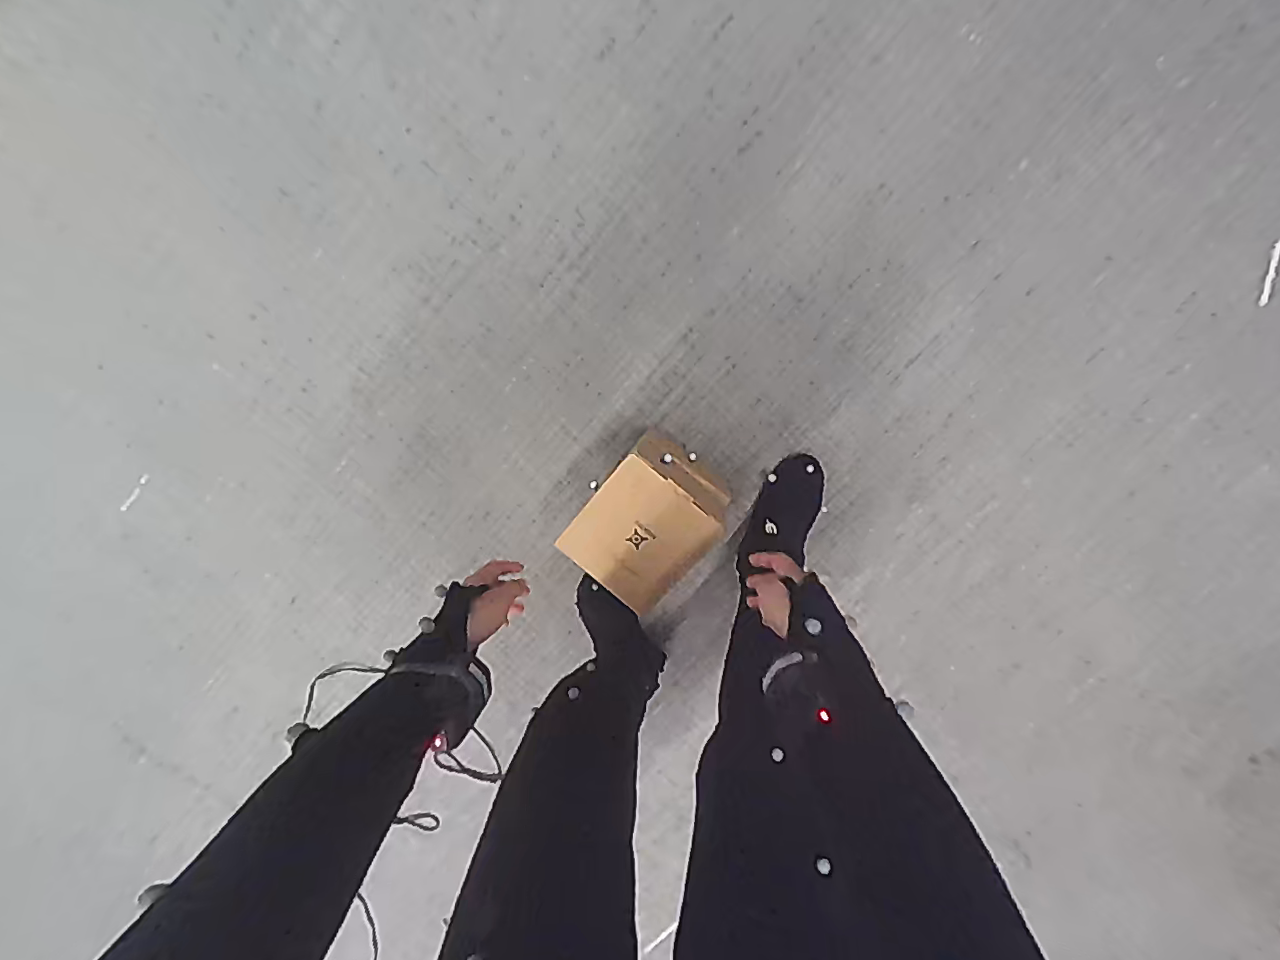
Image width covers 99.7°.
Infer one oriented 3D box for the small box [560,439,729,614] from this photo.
[{"bbox_3d":[0.010,0.057,0.810,0.168,0.176,0.179,40,103,-2],"label":"small box"}]
